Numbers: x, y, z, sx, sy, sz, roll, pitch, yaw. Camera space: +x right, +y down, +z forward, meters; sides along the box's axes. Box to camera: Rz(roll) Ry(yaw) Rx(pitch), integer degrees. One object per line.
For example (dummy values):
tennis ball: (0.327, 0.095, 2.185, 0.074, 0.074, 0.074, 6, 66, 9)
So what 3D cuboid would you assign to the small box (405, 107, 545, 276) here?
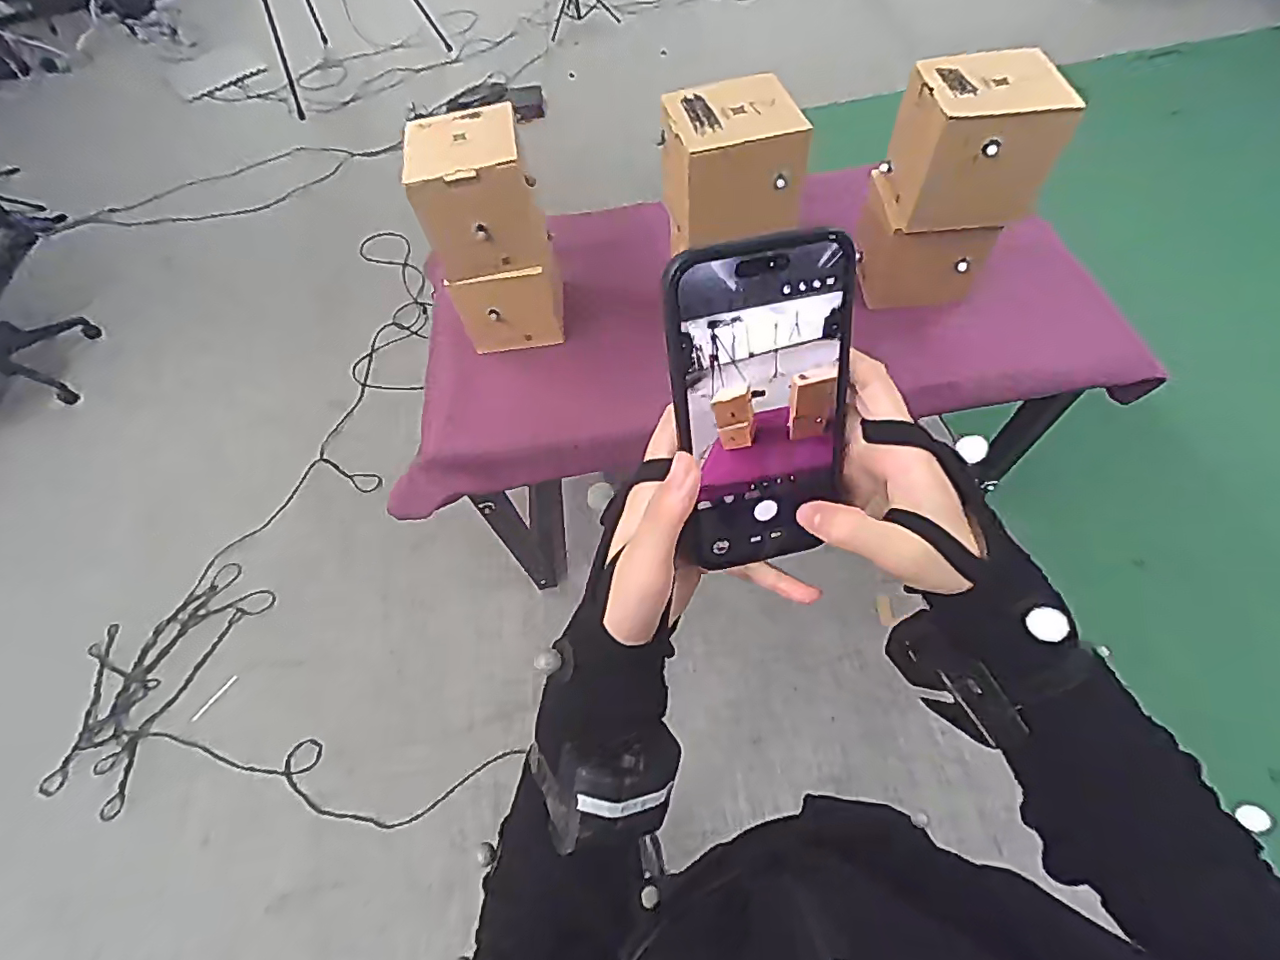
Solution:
small box: (-0.253, -0.447, 0.859, 0.168, 0.176, 0.179, -11, 60, -1)

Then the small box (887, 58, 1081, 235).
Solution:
small box: (0.486, -0.486, 0.803, 0.179, 0.176, 0.168, -2, 59, 5)

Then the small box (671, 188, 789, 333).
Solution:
small box: (0.152, -0.387, 0.970, 0.179, 0.176, 0.168, -7, 59, 2)

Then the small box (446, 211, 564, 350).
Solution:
small box: (-0.237, -0.357, 0.996, 0.168, 0.176, 0.179, -7, 59, 2)

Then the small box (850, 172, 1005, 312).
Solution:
small box: (0.491, -0.416, 0.951, 0.179, 0.176, 0.168, -2, 59, 6)
